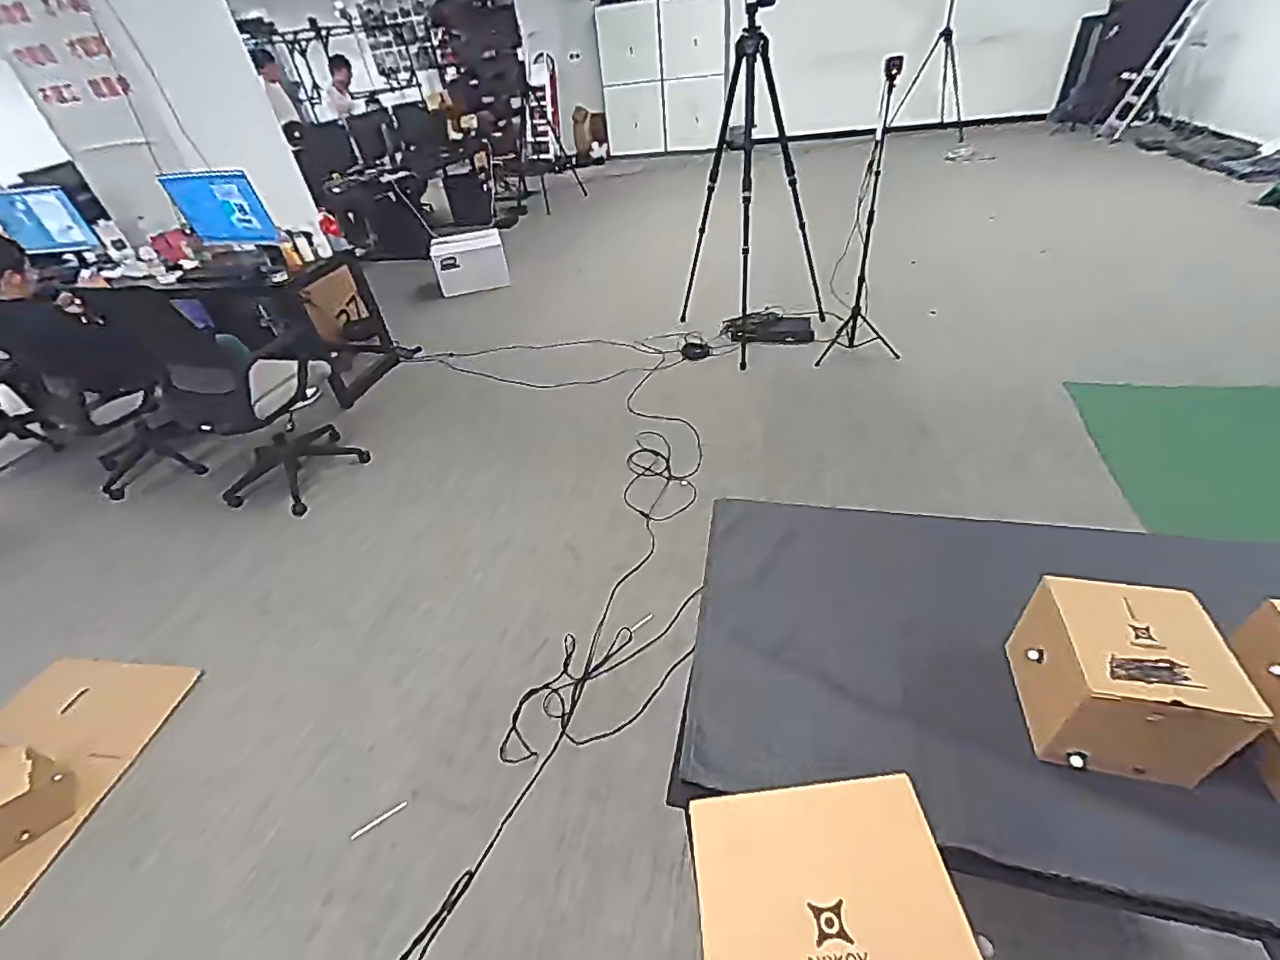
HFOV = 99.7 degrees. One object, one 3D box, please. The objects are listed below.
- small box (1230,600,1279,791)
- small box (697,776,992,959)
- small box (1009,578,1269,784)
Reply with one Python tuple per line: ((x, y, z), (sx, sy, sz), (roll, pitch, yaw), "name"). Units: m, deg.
((0.841, 0.269, 0.632), (0.168, 0.176, 0.179), (3, 40, 14), "small box")
((0.138, 0.344, 0.381), (0.168, 0.176, 0.179), (-10, 37, 5), "small box")
((0.606, 0.254, 0.690), (0.168, 0.176, 0.179), (5, 39, 15), "small box")
